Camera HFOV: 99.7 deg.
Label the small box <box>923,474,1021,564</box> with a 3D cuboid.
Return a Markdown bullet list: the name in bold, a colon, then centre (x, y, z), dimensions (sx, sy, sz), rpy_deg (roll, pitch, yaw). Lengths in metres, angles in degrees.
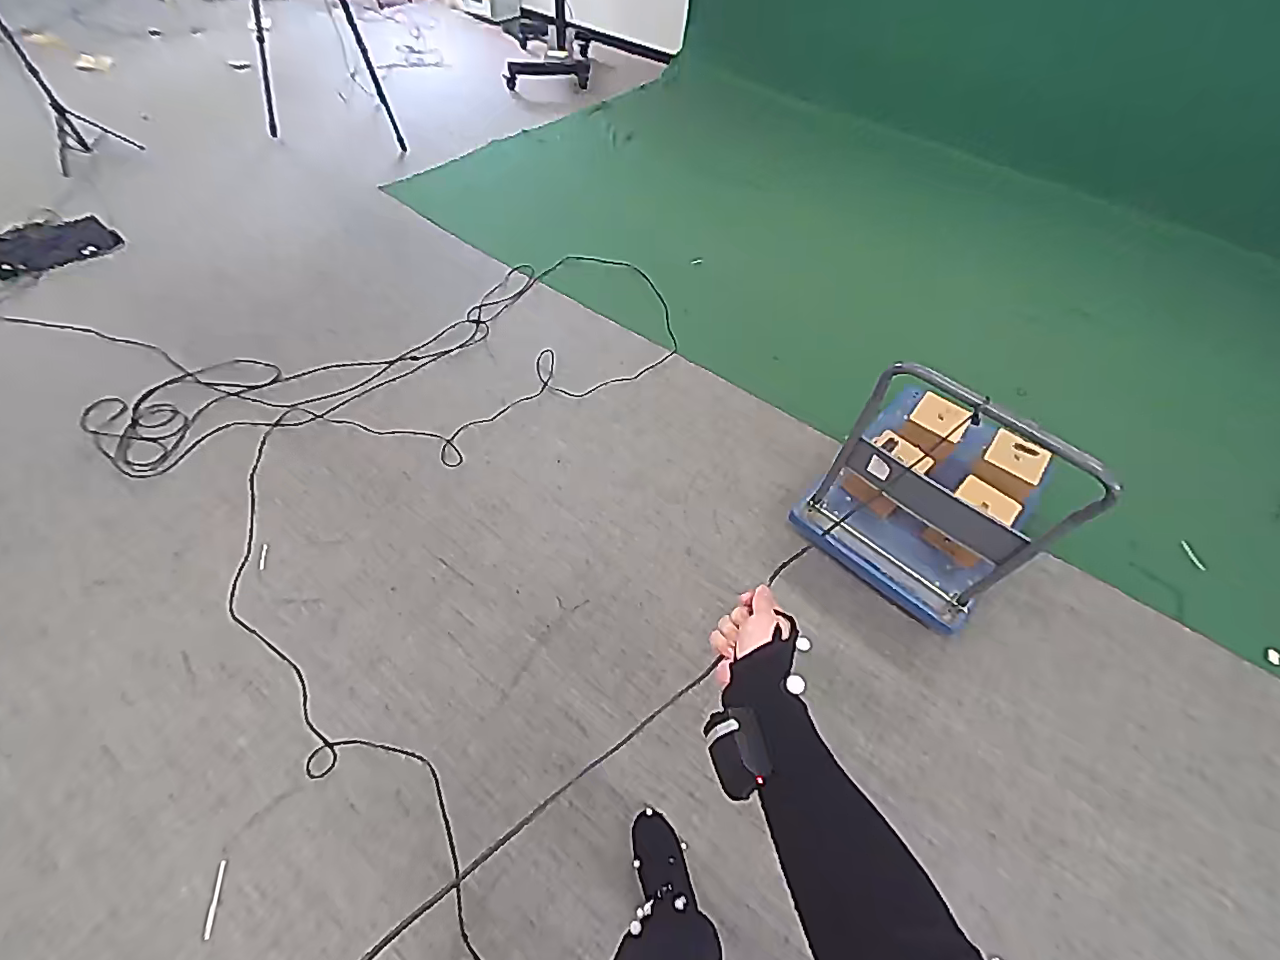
- **small box**: centre (1.002, 0.121, 1.646), dimensions (0.168, 0.176, 0.179), rpy_deg (39, 61, 22)

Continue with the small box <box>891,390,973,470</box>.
- **small box**: centre (0.992, -0.167, 1.855), dimensions (0.168, 0.176, 0.179), rpy_deg (35, 59, 19)

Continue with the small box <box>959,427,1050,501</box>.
- **small box**: centre (1.186, -0.034, 1.770), dimensions (0.168, 0.176, 0.179), rpy_deg (35, 60, 21)
